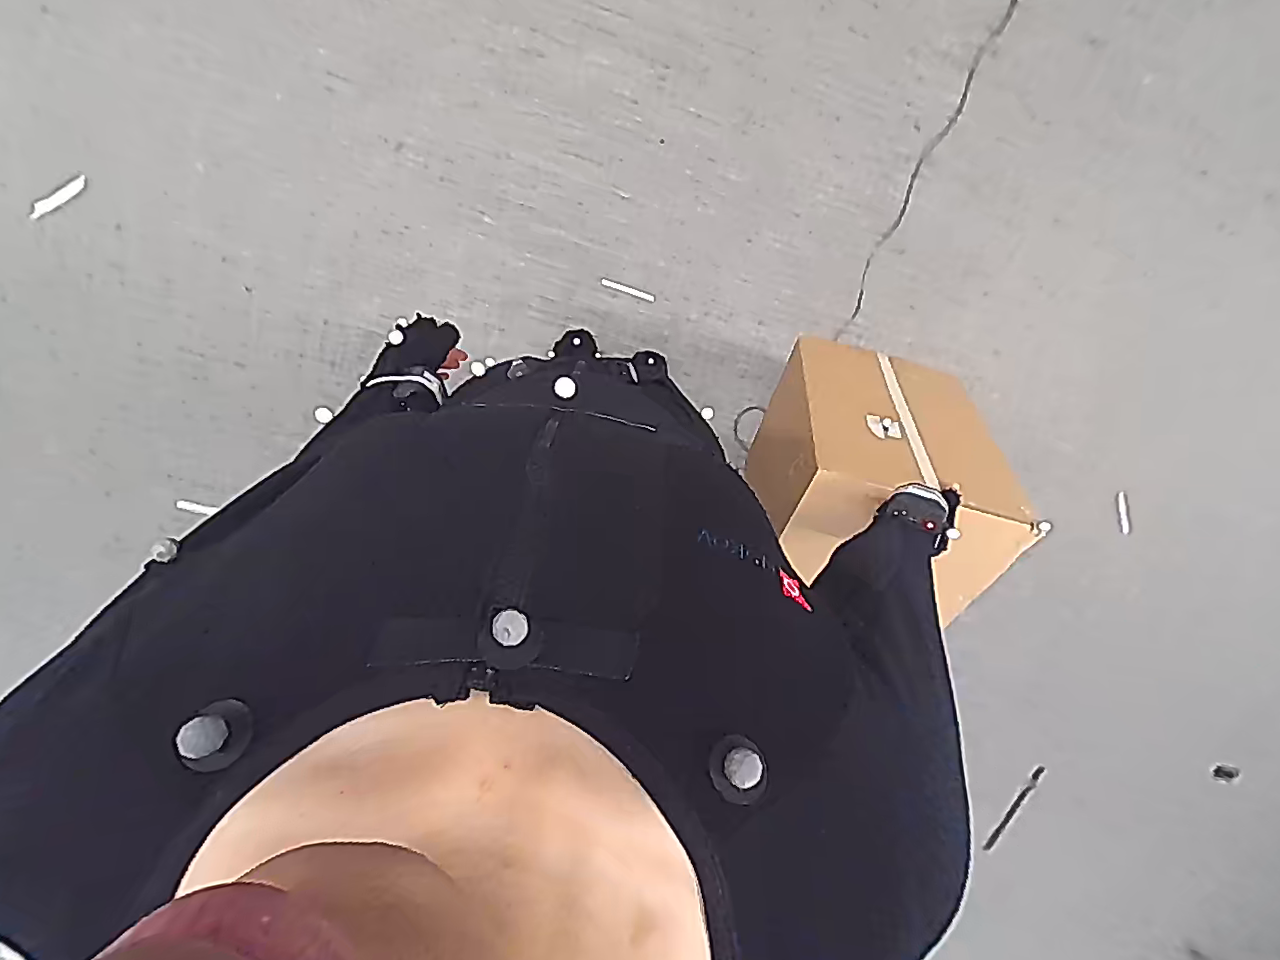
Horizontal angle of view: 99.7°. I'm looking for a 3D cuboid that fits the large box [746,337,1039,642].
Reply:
[{"bbox_3d":[0.387,0.007,0.967,0.320,0.408,0.320,15,132,-1],"label":"large box"}]
